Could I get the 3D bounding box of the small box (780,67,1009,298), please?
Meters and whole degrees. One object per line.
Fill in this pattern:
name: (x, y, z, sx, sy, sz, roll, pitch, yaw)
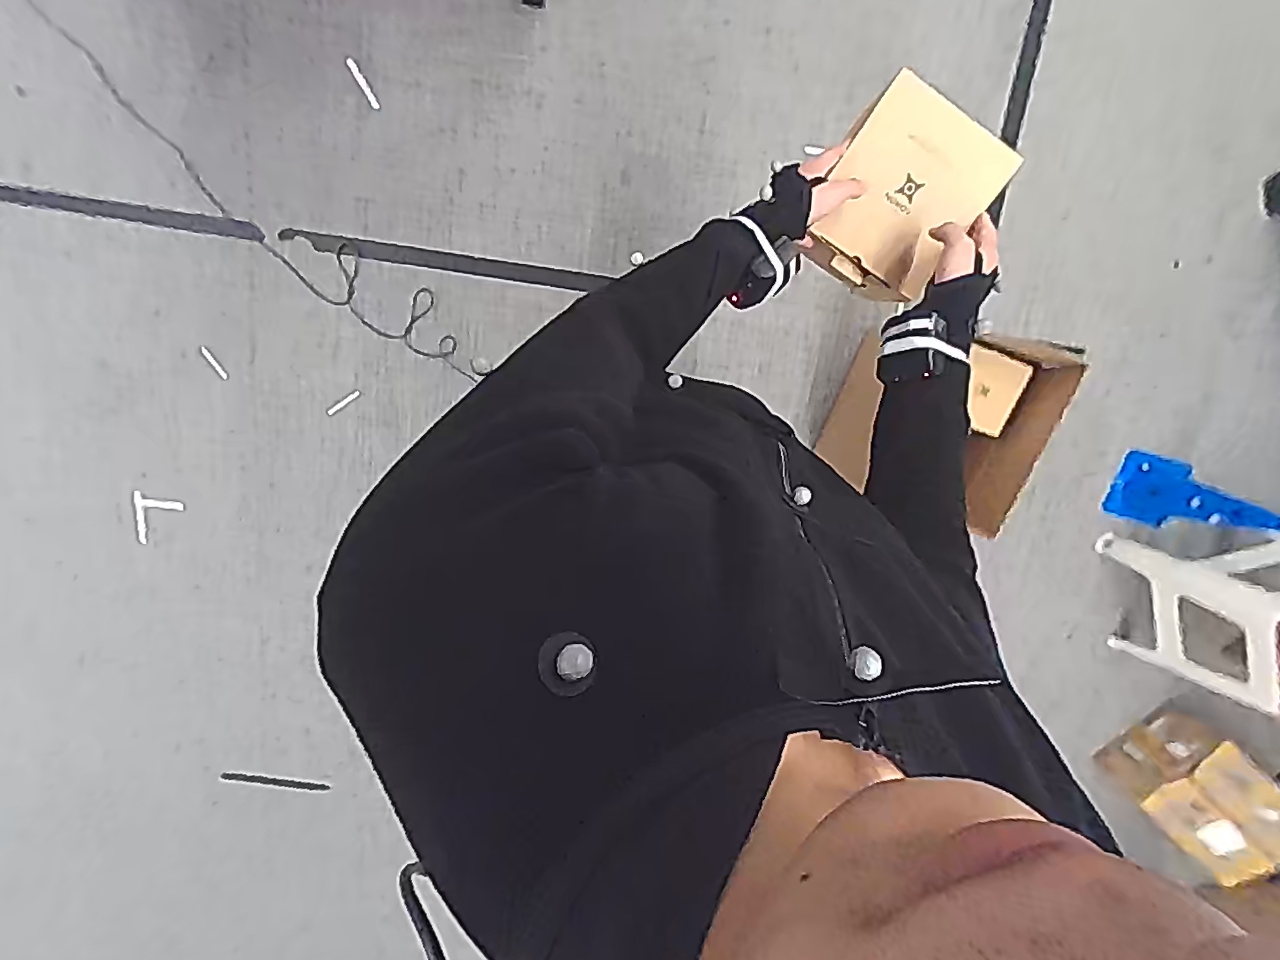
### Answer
small box: (0.292, -0.346, 0.672, 0.168, 0.176, 0.179, 32, 109, -5)
